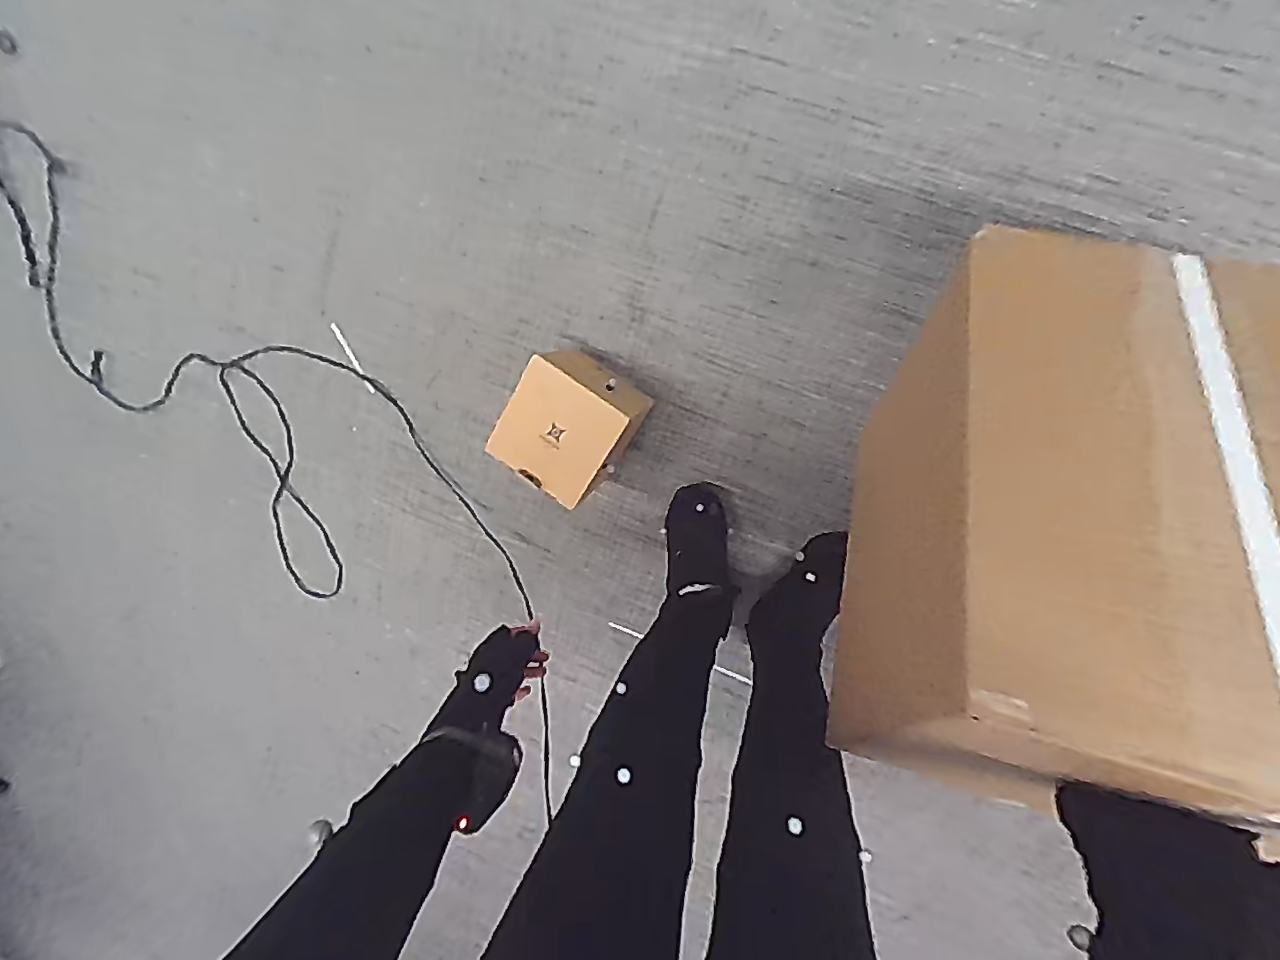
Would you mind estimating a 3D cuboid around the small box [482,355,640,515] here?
[{"bbox_3d":[-0.114,-0.081,0.862,0.168,0.176,0.179,34,113,1],"label":"small box"}]
